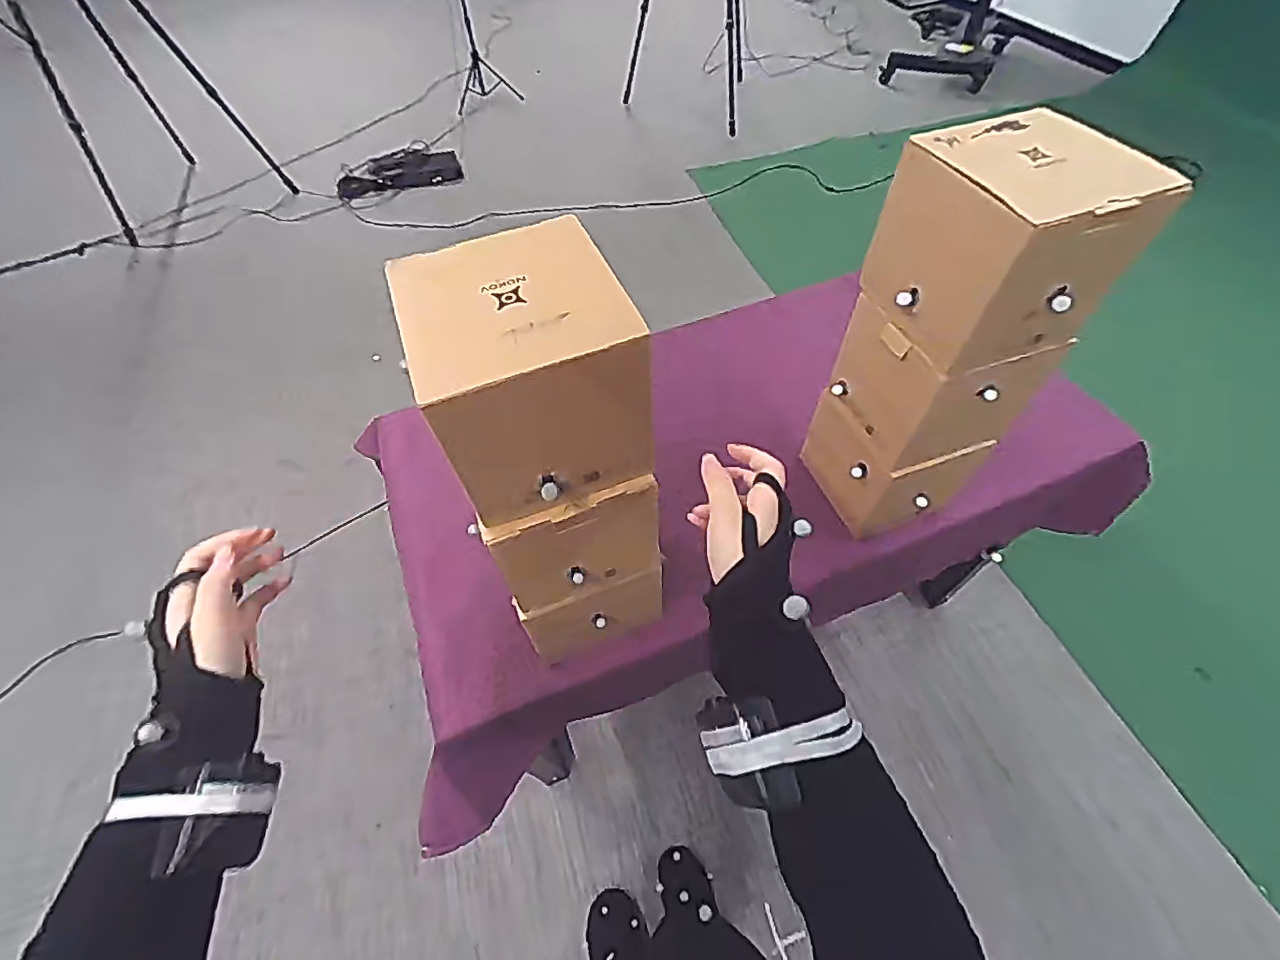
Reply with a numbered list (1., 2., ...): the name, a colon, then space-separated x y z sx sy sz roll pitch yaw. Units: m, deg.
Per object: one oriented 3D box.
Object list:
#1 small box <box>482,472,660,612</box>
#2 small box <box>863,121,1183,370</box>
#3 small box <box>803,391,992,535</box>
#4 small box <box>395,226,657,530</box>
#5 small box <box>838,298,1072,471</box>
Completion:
1. small box: -0.087 0.017 0.602 0.168 0.176 0.179 -19 57 -12
2. small box: 0.369 -0.235 0.565 0.168 0.176 0.179 -16 57 -10
3. small box: 0.375 -0.034 0.826 0.168 0.176 0.179 -16 56 -10
4. small box: -0.093 -0.086 0.476 0.168 0.176 0.179 -19 57 -11
5. small box: 0.377 -0.134 0.695 0.179 0.176 0.168 -16 56 -10
